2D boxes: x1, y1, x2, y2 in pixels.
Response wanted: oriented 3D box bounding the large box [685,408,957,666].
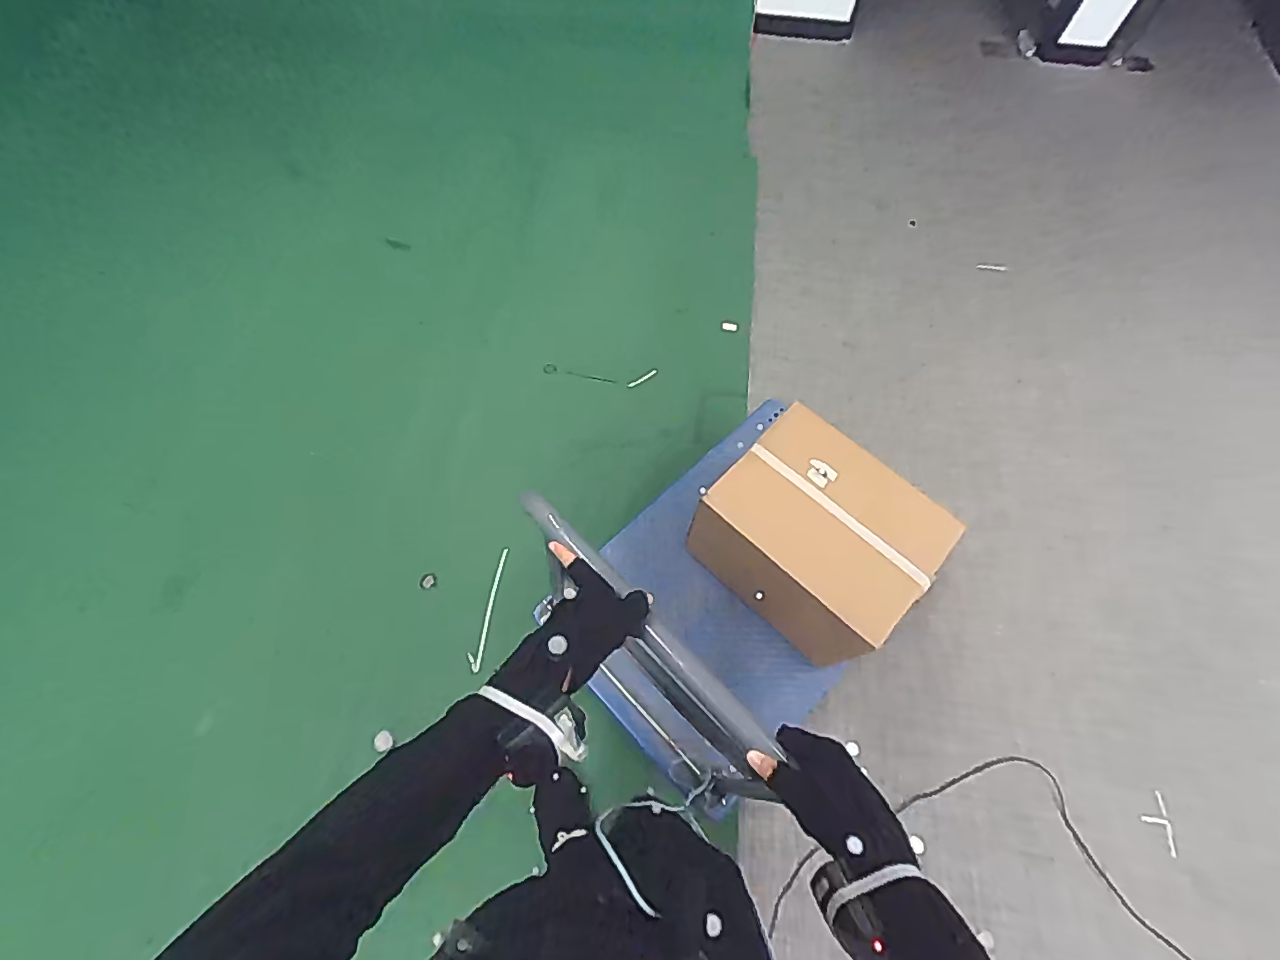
[{"bbox_3d":[0.351,0.131,1.158,0.408,0.320,0.320,41,70,17],"label":"large box"}]
